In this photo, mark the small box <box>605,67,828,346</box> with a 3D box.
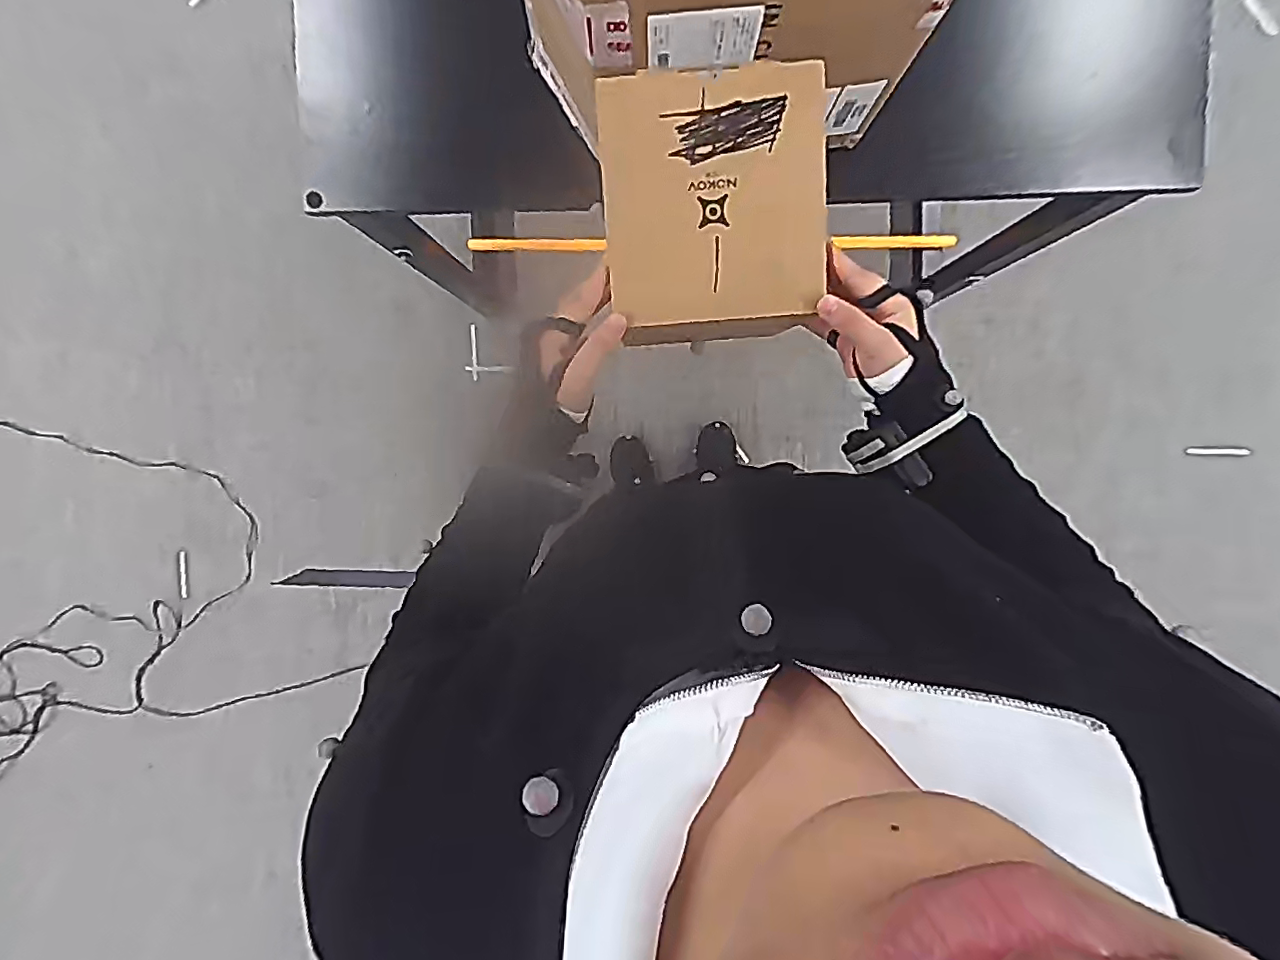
[{"bbox_3d":[0.058,-0.221,0.482,0.168,0.176,0.179,-4,99,1],"label":"small box"}]
